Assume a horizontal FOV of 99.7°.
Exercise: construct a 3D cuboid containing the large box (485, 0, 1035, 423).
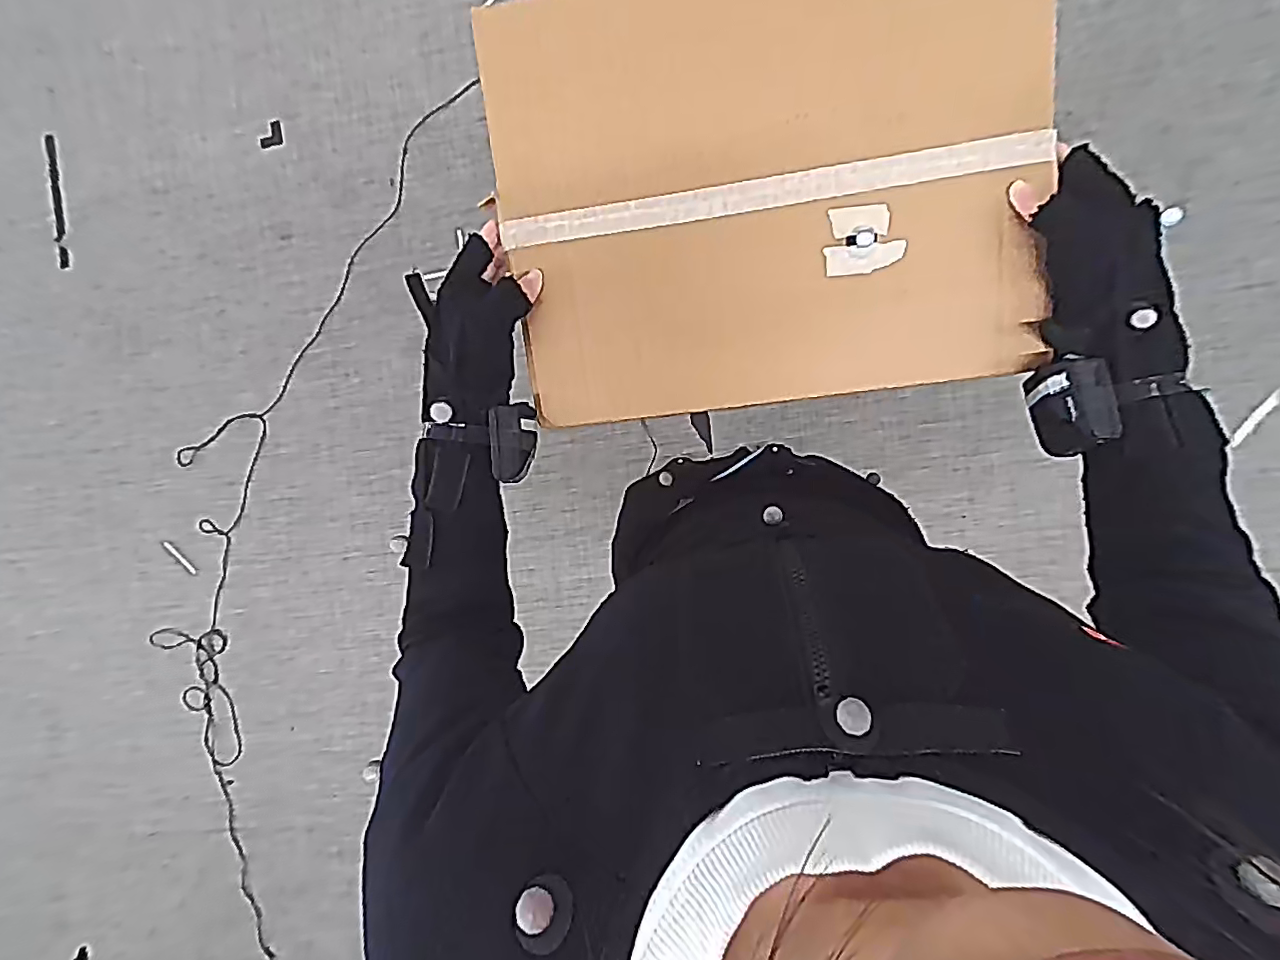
[{"bbox_3d":[0.105,-0.251,0.568,0.408,0.320,0.320,-6,102,6],"label":"large box"}]
